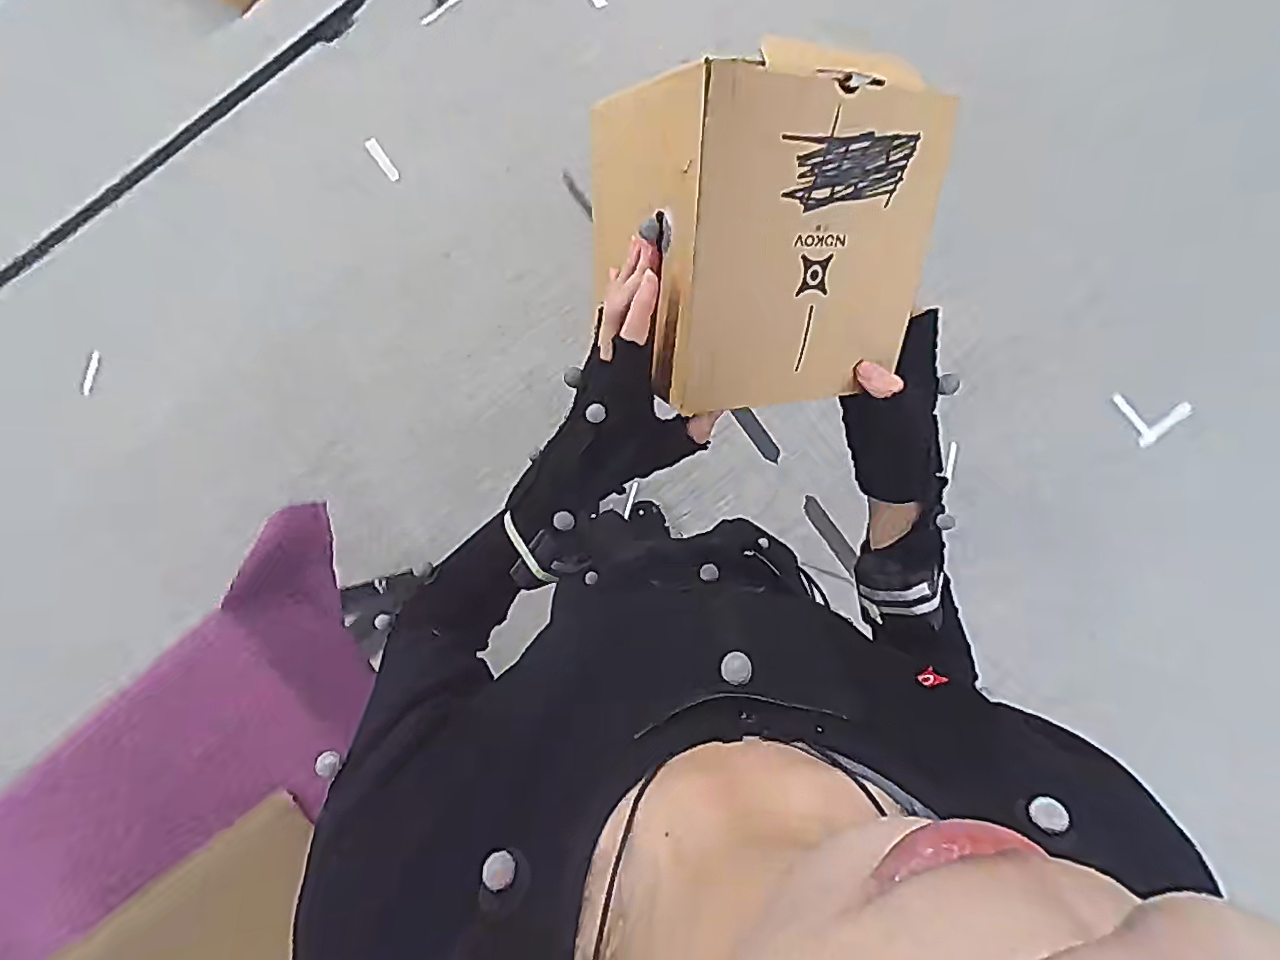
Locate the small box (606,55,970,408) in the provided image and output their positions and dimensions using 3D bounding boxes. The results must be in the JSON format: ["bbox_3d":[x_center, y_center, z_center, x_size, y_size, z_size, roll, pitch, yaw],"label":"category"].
[{"bbox_3d":[0.079,-0.164,0.381,0.168,0.176,0.179,-8,119,-20],"label":"small box"}]
